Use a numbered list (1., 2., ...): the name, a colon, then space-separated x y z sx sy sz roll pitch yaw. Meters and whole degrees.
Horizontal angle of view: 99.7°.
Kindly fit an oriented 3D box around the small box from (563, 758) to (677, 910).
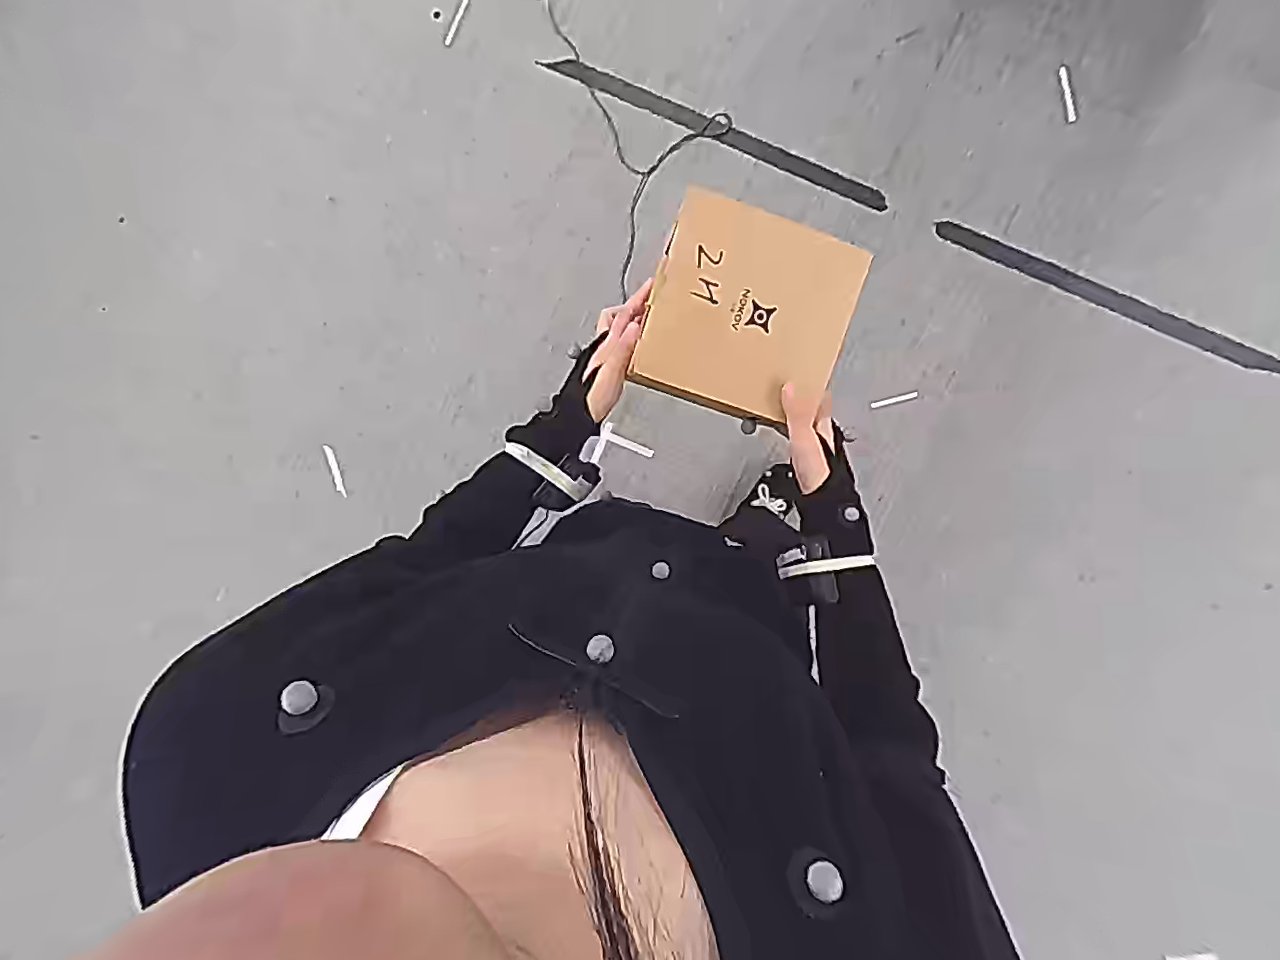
1. small box: -0.032 0.719 1.121 0.179 0.176 0.168 25 92 6

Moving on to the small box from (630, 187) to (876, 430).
1. small box: 0.097 -0.159 0.555 0.179 0.176 0.168 18 96 -6
